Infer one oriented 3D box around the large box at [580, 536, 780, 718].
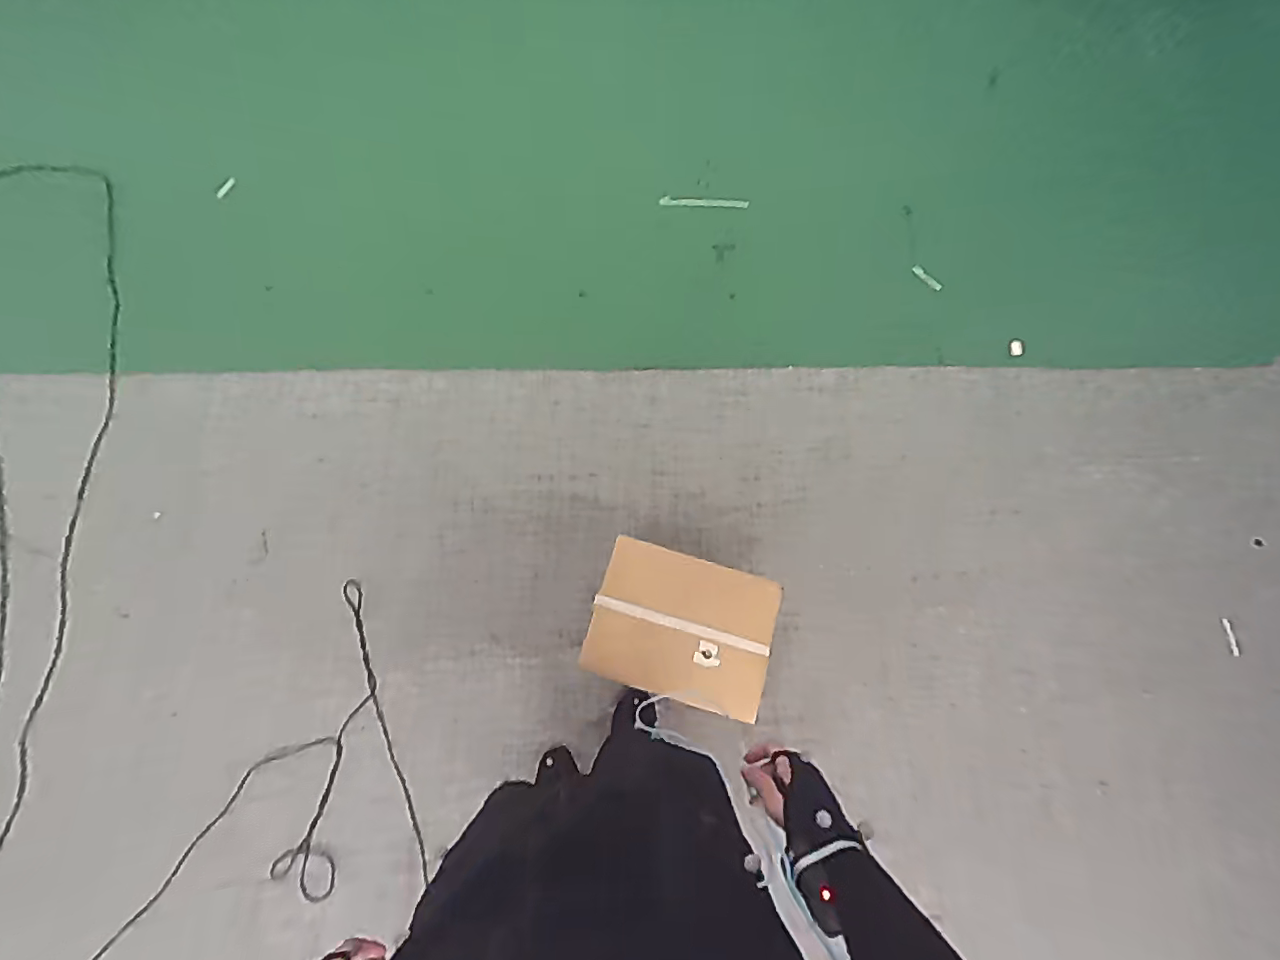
[{"bbox_3d":[0.086,0.368,1.354,0.408,0.320,0.320,17,72,1],"label":"large box"}]
